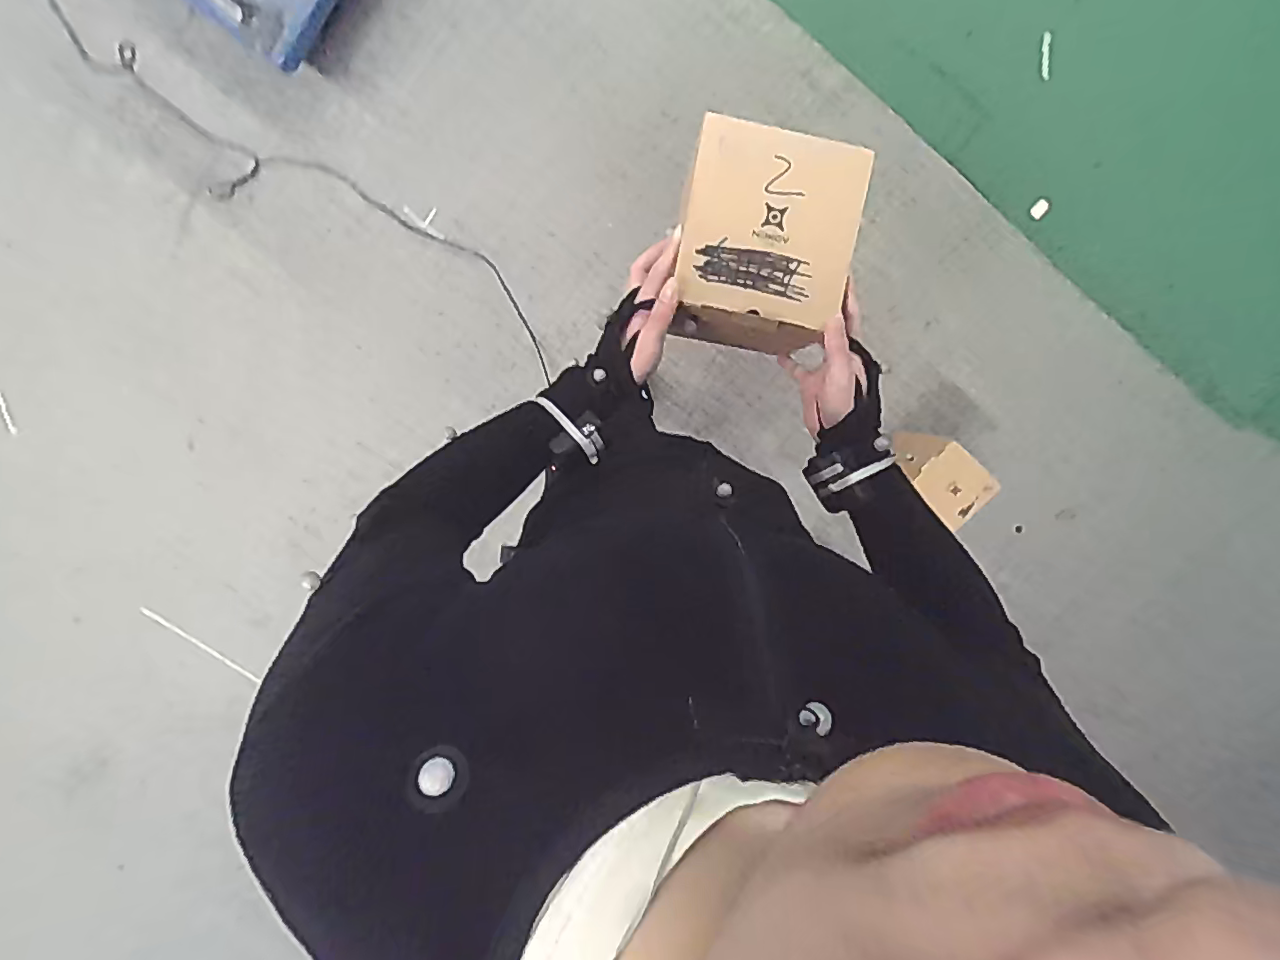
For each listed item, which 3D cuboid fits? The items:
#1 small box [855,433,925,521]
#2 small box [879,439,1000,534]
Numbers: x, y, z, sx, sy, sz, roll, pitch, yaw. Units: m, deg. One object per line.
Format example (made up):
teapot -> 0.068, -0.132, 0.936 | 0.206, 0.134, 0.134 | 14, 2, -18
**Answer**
small box -> 0.753, -0.016, 1.544 | 0.168, 0.176, 0.179 | 43, 99, -7
small box -> 0.752, 0.008, 1.382 | 0.179, 0.176, 0.168 | 43, 98, -6
